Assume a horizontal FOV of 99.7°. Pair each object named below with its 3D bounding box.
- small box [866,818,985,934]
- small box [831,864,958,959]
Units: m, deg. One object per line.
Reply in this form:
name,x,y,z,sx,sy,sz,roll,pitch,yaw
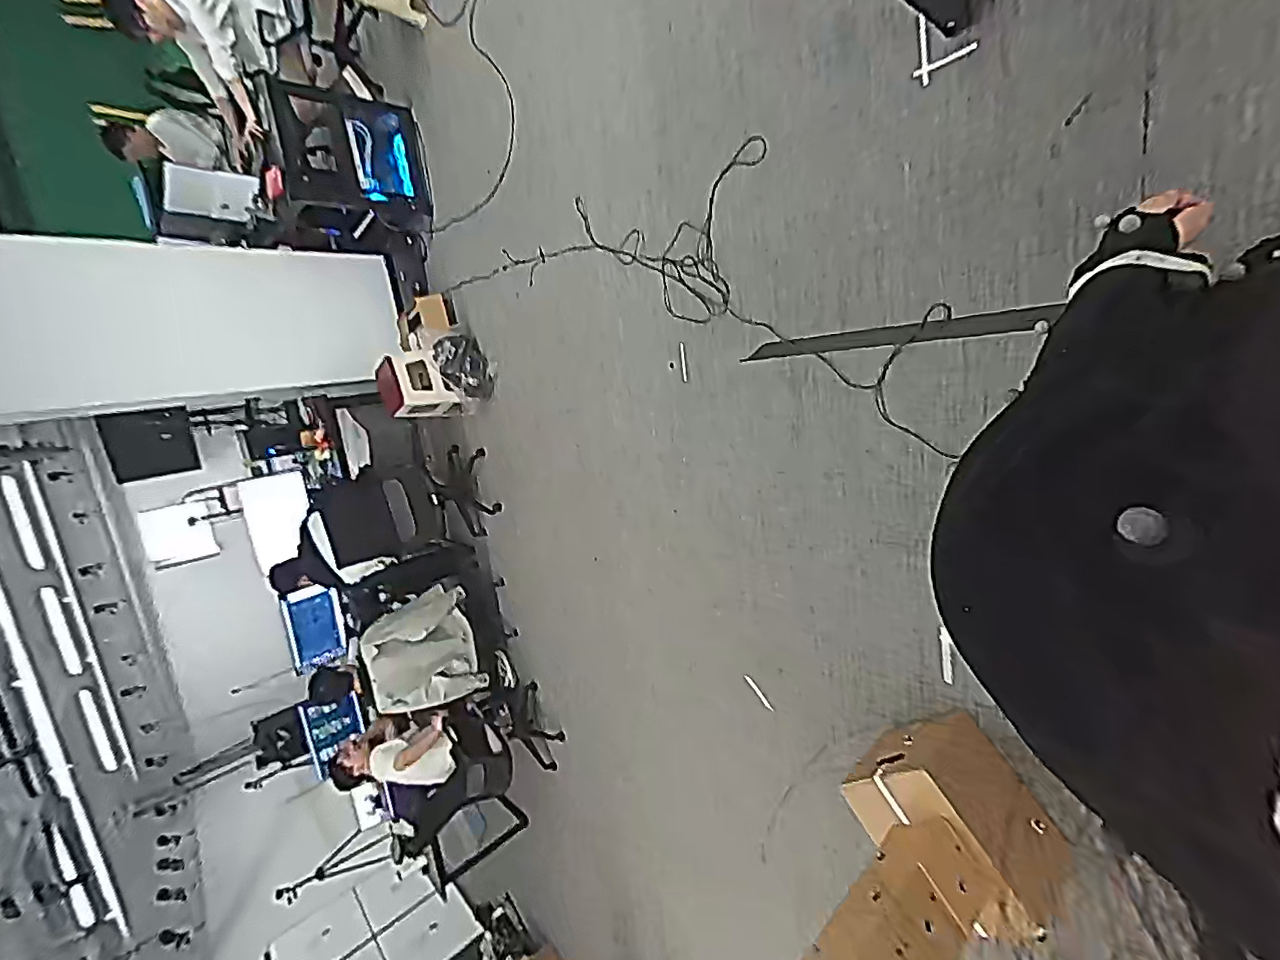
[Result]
small box,0.699,0.954,1.313,0.168,0.176,0.179,57,138,18
small box,0.576,0.999,1.213,0.168,0.176,0.179,57,137,19
